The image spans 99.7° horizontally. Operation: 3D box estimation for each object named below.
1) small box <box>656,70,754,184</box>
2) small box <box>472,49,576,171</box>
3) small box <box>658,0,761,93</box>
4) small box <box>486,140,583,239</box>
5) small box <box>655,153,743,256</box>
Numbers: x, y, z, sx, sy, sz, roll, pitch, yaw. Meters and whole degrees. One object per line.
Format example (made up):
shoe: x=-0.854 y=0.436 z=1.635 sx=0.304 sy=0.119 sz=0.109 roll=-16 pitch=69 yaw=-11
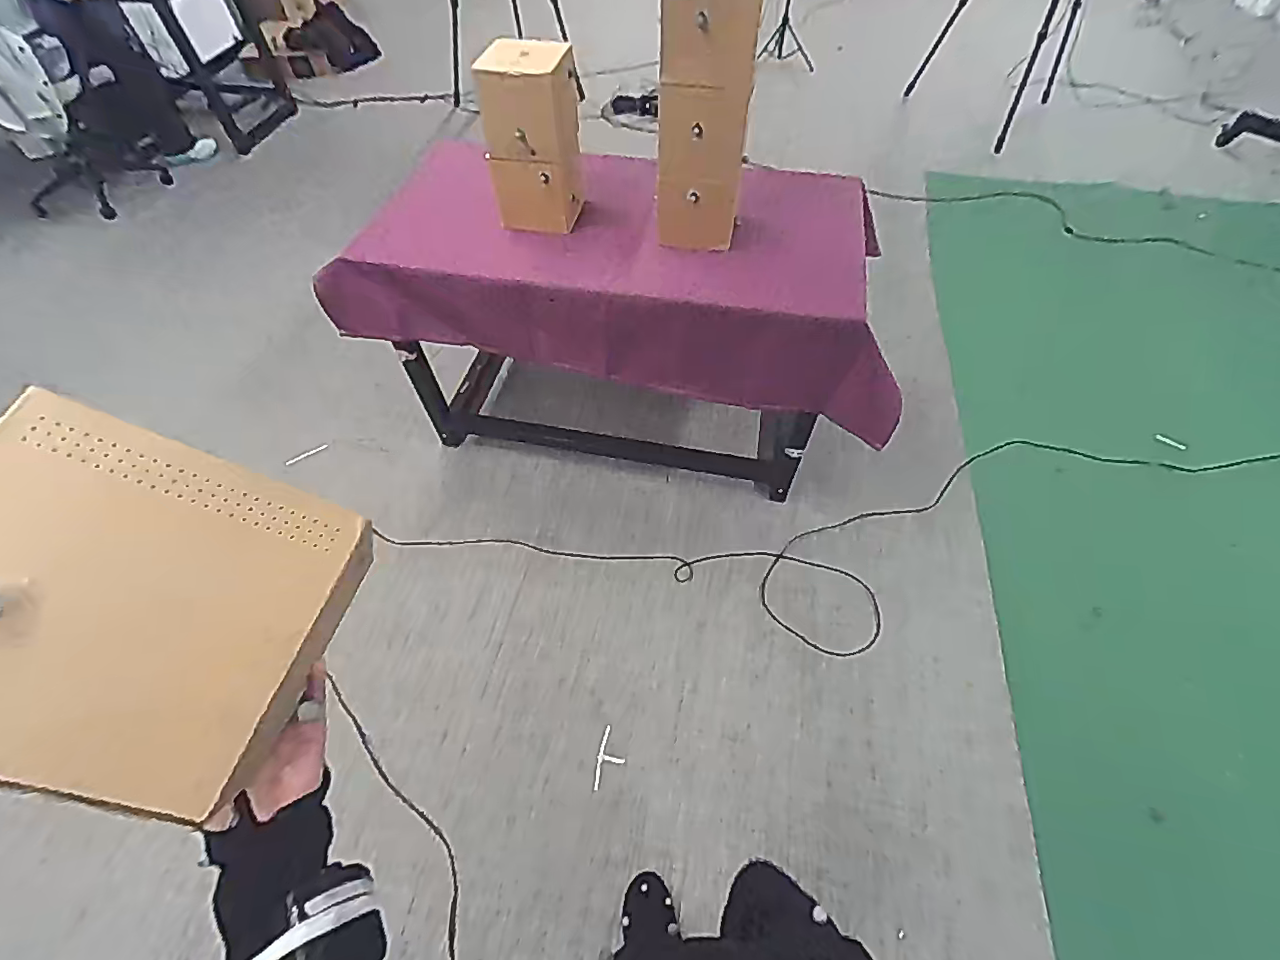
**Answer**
small box: x=0.132 y=-0.741 z=1.126 sx=0.179 sy=0.176 sz=0.168 roll=8 pitch=56 yaw=8
small box: x=-0.242 y=-0.806 z=1.180 sx=0.168 sy=0.176 sz=0.179 roll=8 pitch=55 yaw=7
small box: x=0.128 y=-0.838 z=0.993 sx=0.179 sy=0.176 sz=0.168 roll=7 pitch=56 yaw=7
small box: x=-0.247 y=-0.708 z=1.314 sx=0.179 sy=0.176 sz=0.168 roll=8 pitch=55 yaw=6
small box: x=0.135 y=-0.646 z=1.259 sx=0.179 sy=0.176 sz=0.168 roll=10 pitch=56 yaw=7
